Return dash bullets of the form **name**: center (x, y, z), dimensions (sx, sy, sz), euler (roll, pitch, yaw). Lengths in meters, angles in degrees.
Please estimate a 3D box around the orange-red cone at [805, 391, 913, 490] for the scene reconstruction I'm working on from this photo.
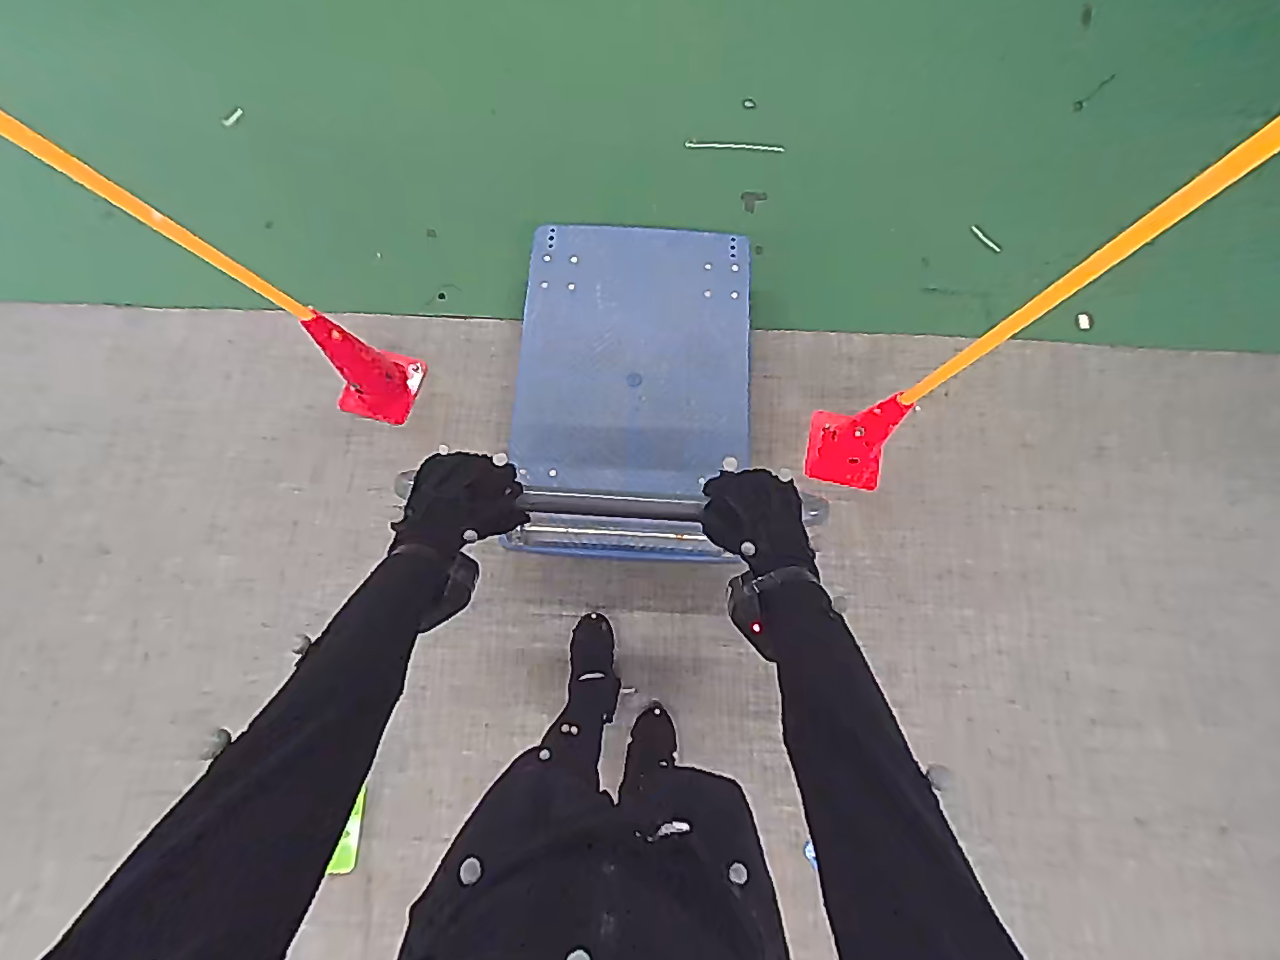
- **orange-red cone**: center (0.558, -0.125, 1.305), dimensions (0.198, 0.360, 0.199), euler (13, 76, 3)
